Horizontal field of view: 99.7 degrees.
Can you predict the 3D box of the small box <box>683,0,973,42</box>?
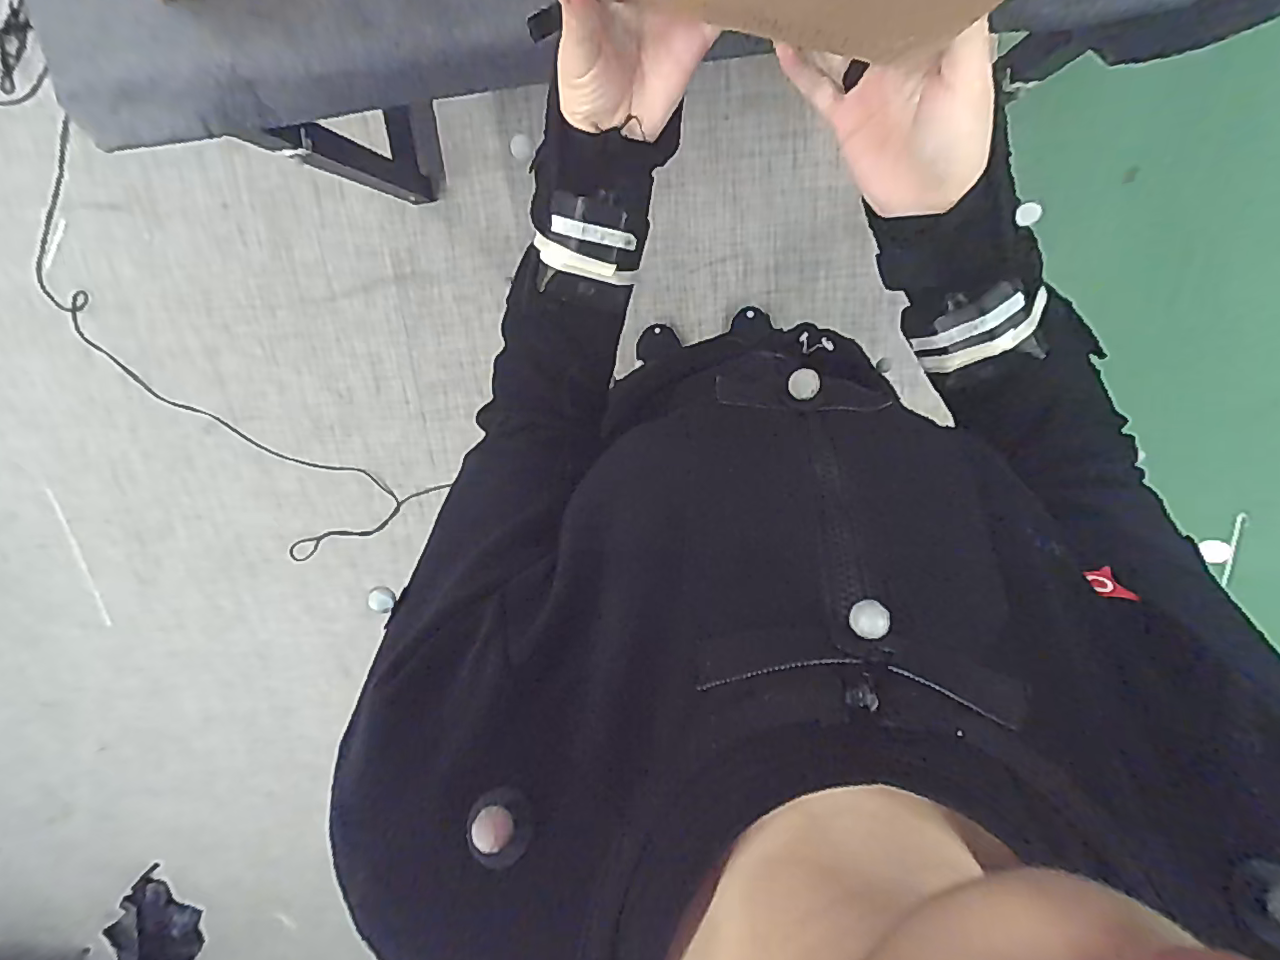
[{"bbox_3d":[0.059,-0.256,0.150,0.179,0.176,0.168,14,116,1],"label":"small box"}]
